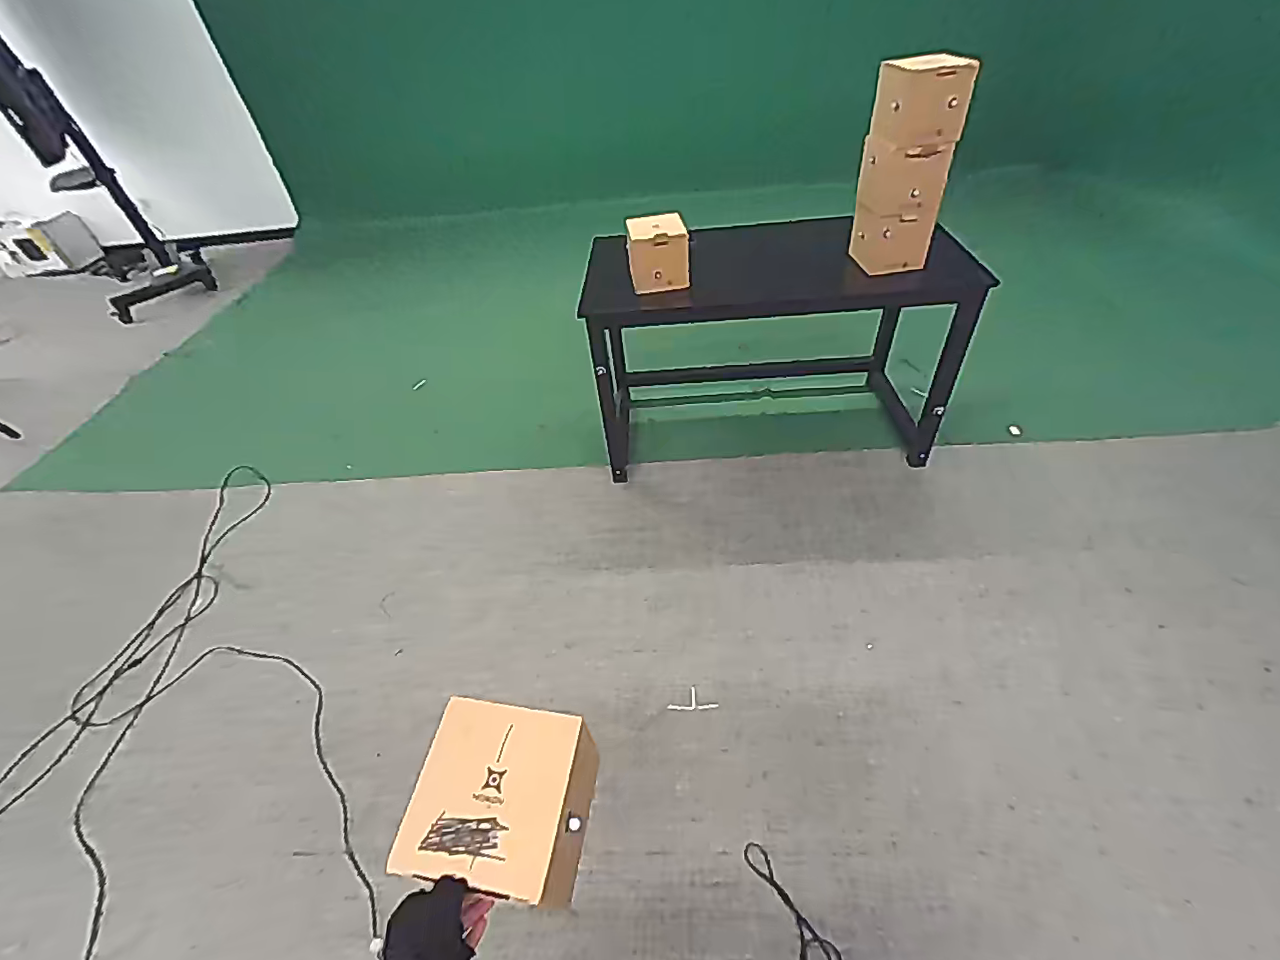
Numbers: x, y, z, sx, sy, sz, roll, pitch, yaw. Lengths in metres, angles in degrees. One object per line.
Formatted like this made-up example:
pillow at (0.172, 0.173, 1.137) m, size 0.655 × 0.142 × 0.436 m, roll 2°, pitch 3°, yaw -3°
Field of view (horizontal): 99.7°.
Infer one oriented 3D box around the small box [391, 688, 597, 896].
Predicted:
small box at (-0.154, 0.375, 0.647) m, size 0.168 × 0.176 × 0.179 m, roll 5°, pitch 51°, yaw 9°

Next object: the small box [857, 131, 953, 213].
small box at (0.724, -0.863, 1.503) m, size 0.168 × 0.176 × 0.179 m, roll -9°, pitch 44°, yaw -1°

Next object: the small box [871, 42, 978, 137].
small box at (0.714, -0.992, 1.377) m, size 0.168 × 0.176 × 0.179 m, roll -8°, pitch 43°, yaw -1°

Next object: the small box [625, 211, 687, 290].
small box at (0.048, -0.710, 1.673) m, size 0.168 × 0.176 × 0.179 m, roll -8°, pitch 45°, yaw -2°
